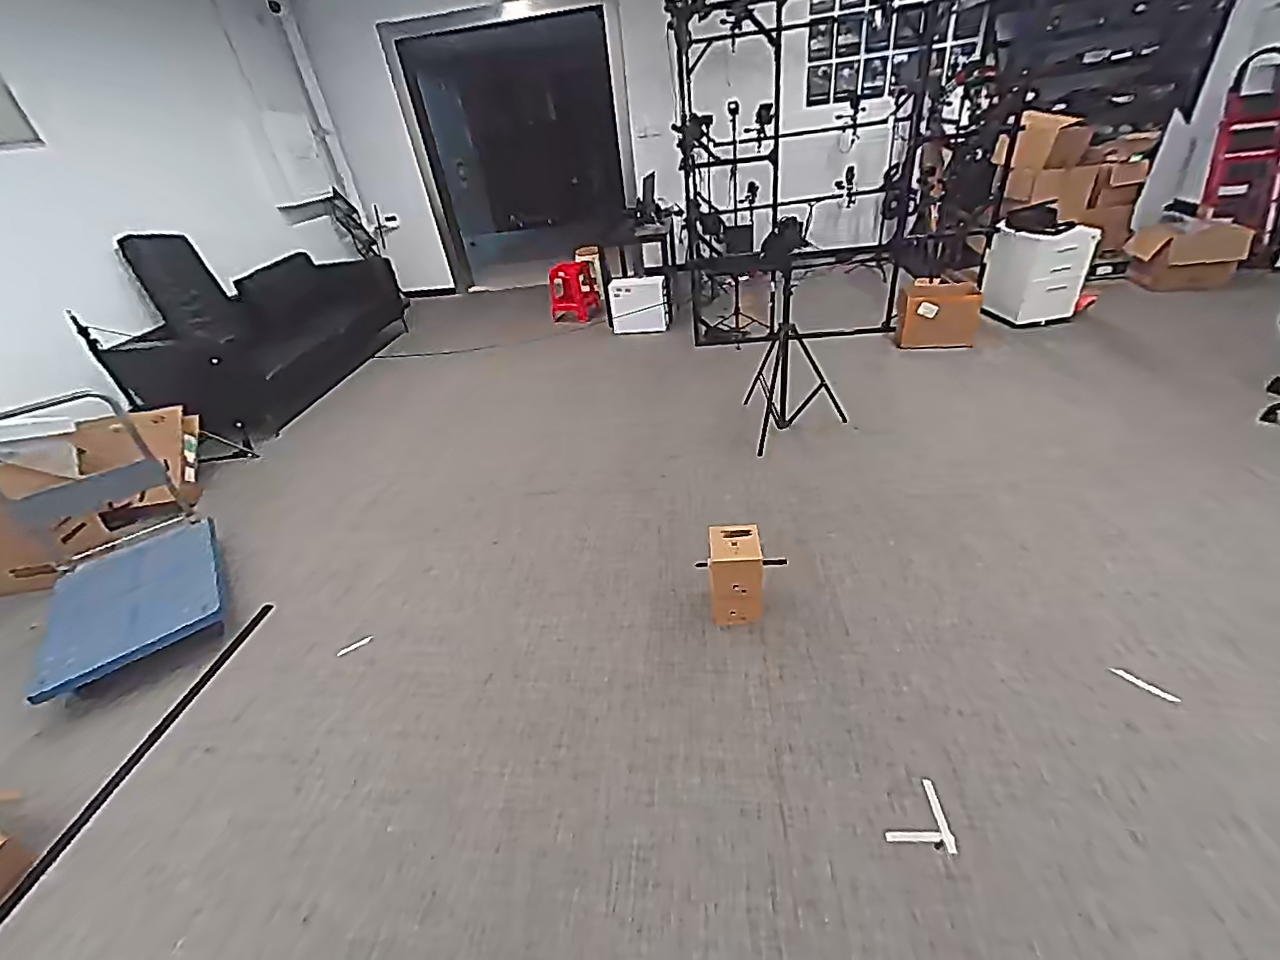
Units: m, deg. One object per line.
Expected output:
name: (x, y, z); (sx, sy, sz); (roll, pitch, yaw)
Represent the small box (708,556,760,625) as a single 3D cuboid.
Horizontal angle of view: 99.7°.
small box: (0.338, 0.401, 1.961); (0.168, 0.176, 0.179); (-6, 34, 4)
